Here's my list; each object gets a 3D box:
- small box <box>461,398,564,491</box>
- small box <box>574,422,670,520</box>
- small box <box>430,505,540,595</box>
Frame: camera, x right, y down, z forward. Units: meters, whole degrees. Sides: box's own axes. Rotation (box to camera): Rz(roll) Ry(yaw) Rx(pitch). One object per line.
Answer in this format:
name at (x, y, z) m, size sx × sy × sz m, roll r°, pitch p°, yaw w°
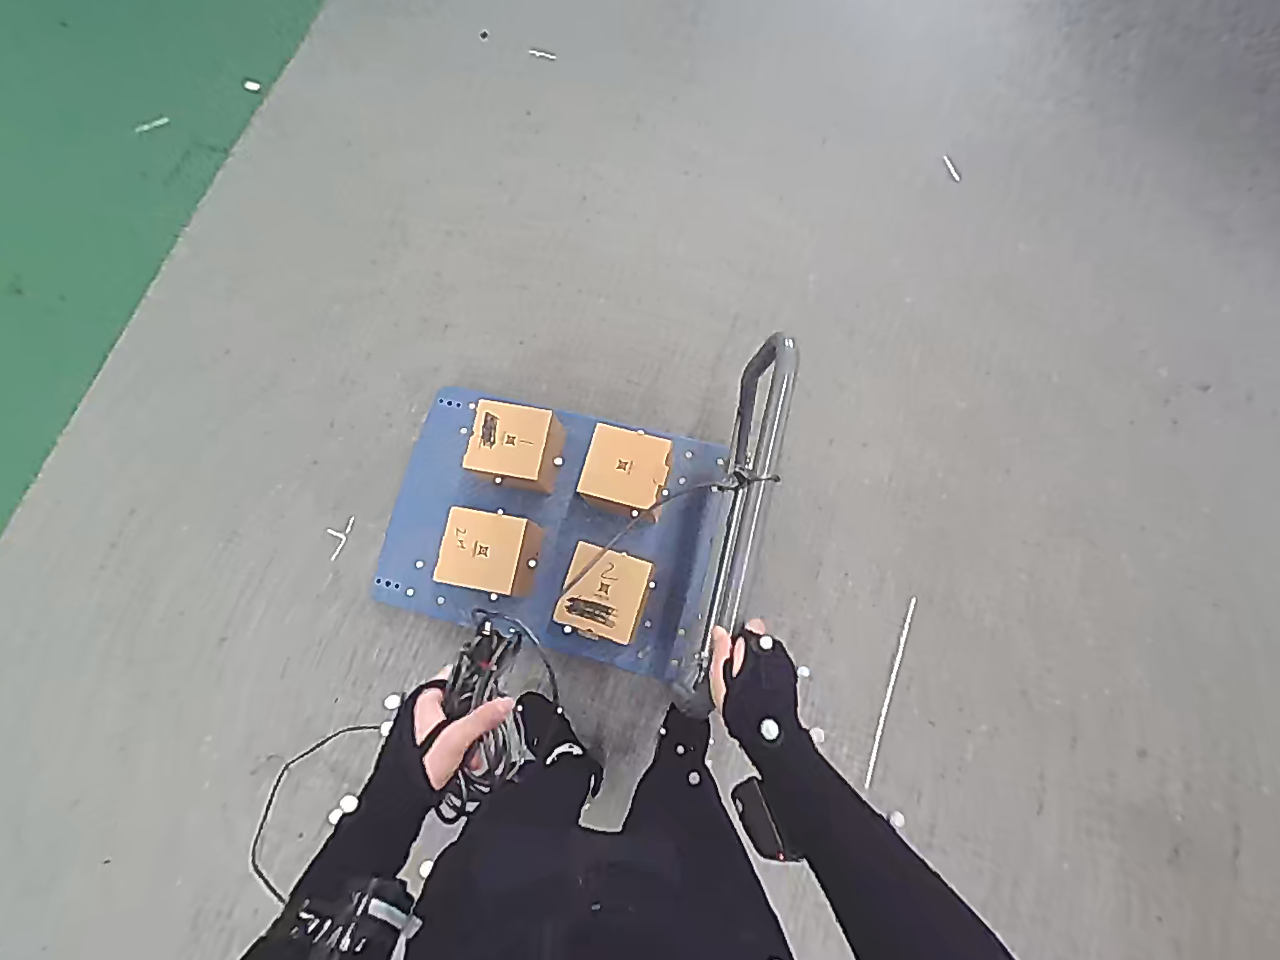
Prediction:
small box at (-0.294, -0.077, 1.285) m, size 0.179 × 0.176 × 0.168 m, roll 10°, pitch 78°, yaw 5°
small box at (-0.034, -0.013, 1.255) m, size 0.179 × 0.176 × 0.168 m, roll 15°, pitch 78°, yaw 7°
small box at (-0.341, 0.164, 1.231) m, size 0.179 × 0.176 × 0.168 m, roll 10°, pitch 77°, yaw 6°
